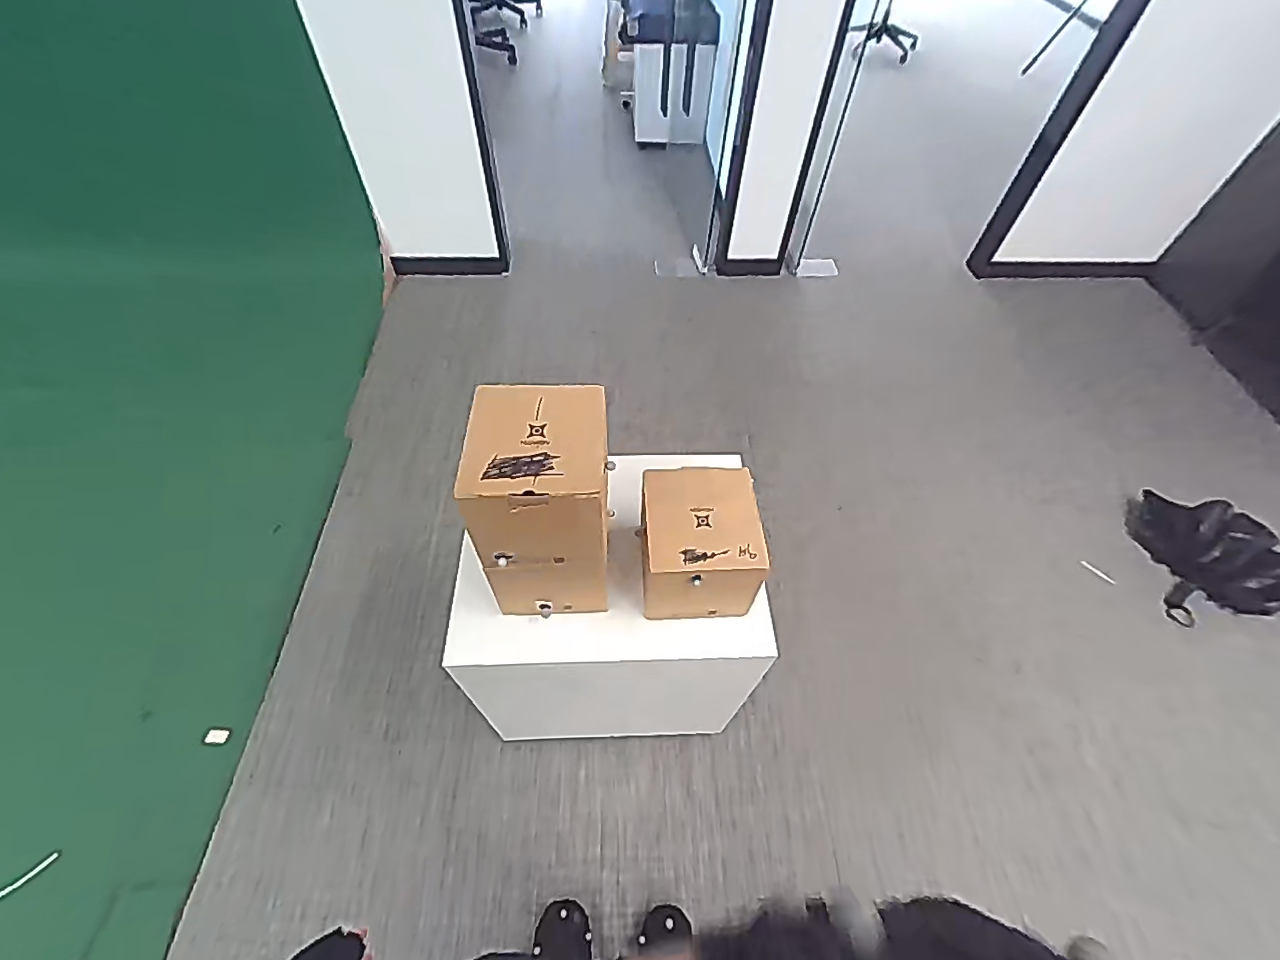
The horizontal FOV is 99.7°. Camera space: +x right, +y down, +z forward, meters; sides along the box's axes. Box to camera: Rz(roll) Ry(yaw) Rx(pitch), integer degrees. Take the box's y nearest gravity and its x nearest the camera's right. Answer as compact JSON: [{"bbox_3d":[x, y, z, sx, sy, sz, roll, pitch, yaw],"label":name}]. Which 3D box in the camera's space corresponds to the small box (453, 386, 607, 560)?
[{"bbox_3d":[-0.130,-0.004,0.716,0.168,0.176,0.179,0,52,-2],"label":"small box"}]

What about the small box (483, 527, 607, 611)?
[{"bbox_3d":[-0.136,0.086,0.834,0.168,0.176,0.179,-2,55,-4],"label":"small box"}]

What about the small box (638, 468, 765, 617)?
[{"bbox_3d":[0.084,0.100,0.850,0.168,0.176,0.179,-1,53,-3],"label":"small box"}]
